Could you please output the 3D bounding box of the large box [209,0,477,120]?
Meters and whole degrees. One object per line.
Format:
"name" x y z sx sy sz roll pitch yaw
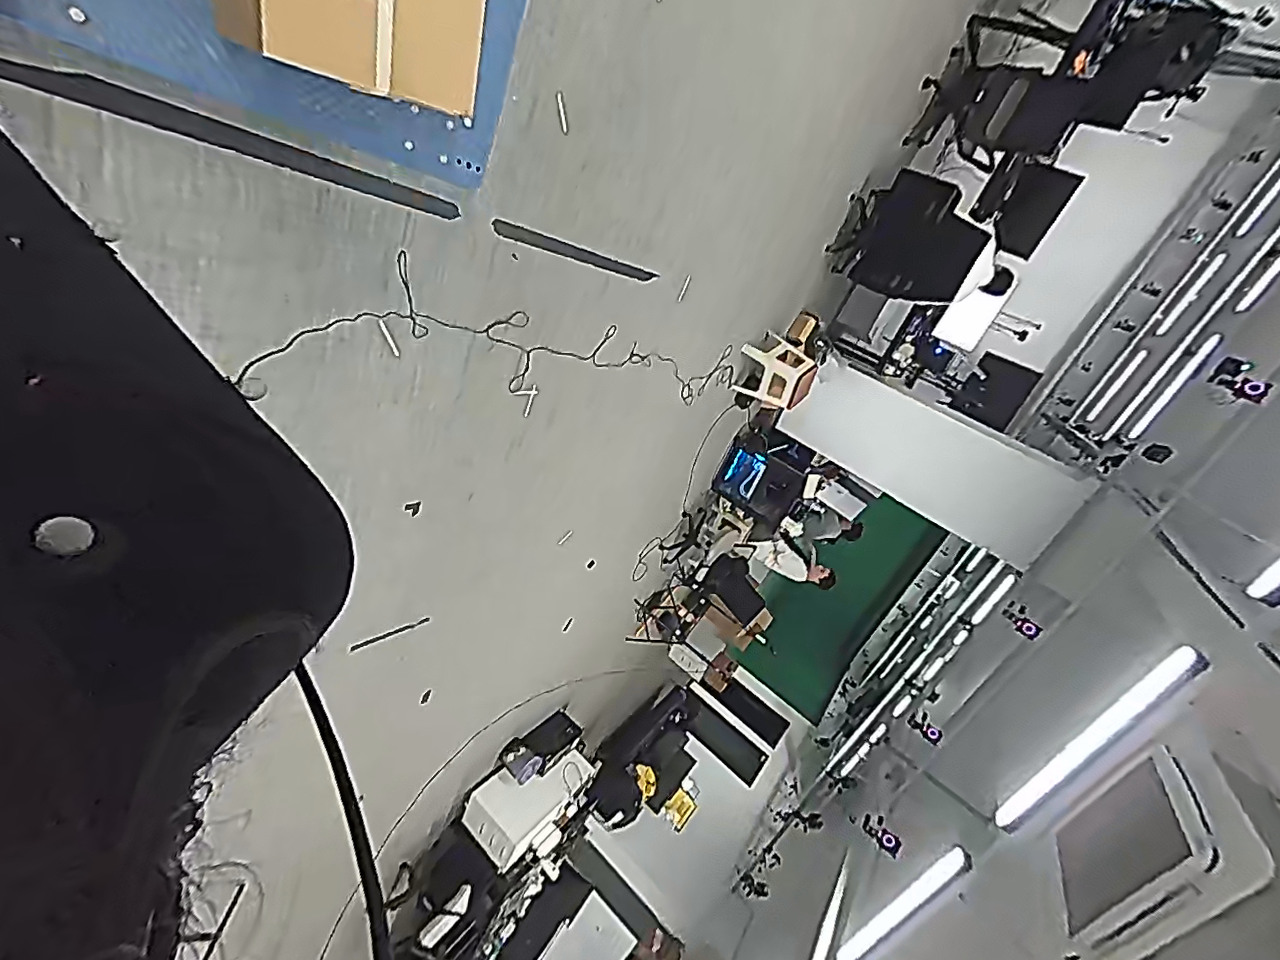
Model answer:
"large box" -0.457 -0.853 0.829 0.320 0.320 0.408 -12 133 -43
